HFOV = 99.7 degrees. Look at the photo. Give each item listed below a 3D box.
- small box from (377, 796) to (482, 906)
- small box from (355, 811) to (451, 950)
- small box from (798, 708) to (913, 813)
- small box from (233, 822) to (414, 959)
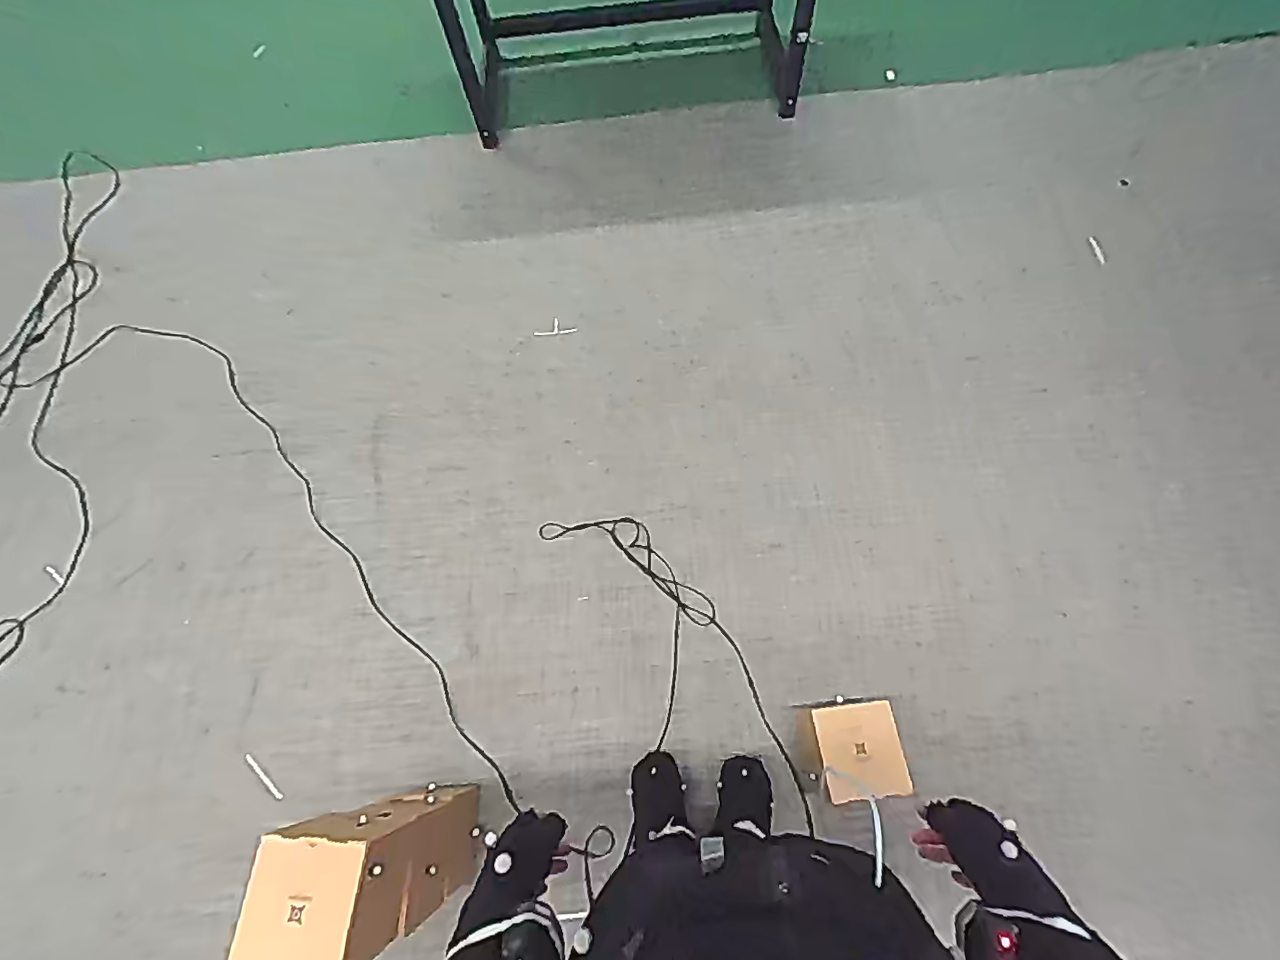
[{"bbox_3d":[-0.444,0.776,1.142,0.168,0.176,0.179,-7,66,4],"label":"small box"},{"bbox_3d":[-0.458,0.717,0.987,0.168,0.176,0.179,-3,68,2],"label":"small box"},{"bbox_3d":[0.452,0.594,1.163,0.168,0.176,0.179,-7,67,0],"label":"small box"},{"bbox_3d":[-0.476,0.653,0.838,0.168,0.176,0.179,1,67,4],"label":"small box"}]
